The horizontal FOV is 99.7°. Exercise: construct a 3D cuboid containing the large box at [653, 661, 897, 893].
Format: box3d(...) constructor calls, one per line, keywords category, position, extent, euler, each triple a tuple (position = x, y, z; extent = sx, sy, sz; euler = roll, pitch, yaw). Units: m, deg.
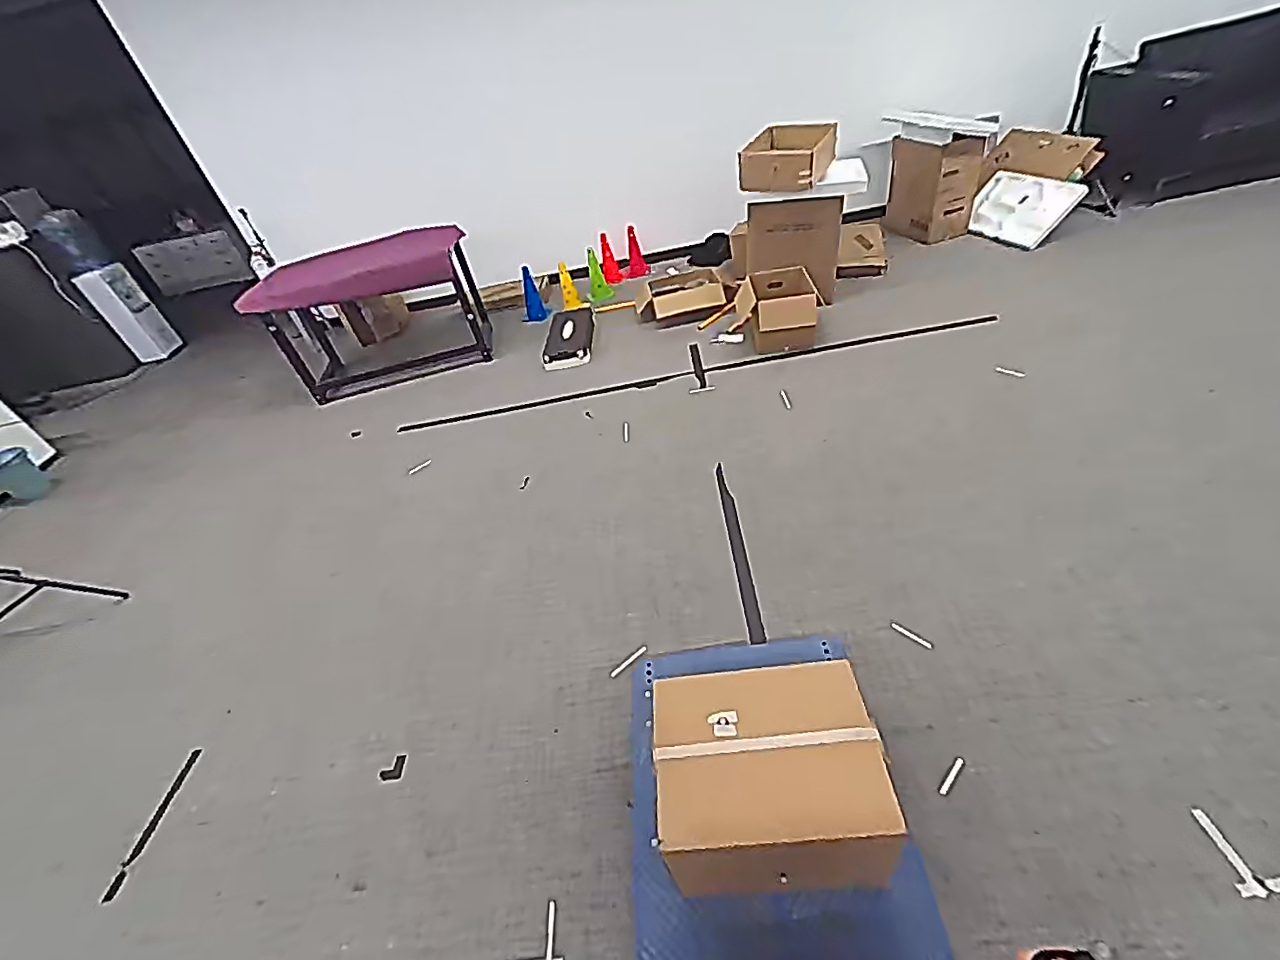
box3d(category="large box", position=(0.256, 0.614, 1.112), extent=(0.408, 0.320, 0.320), euler=(-9, 38, 7))
